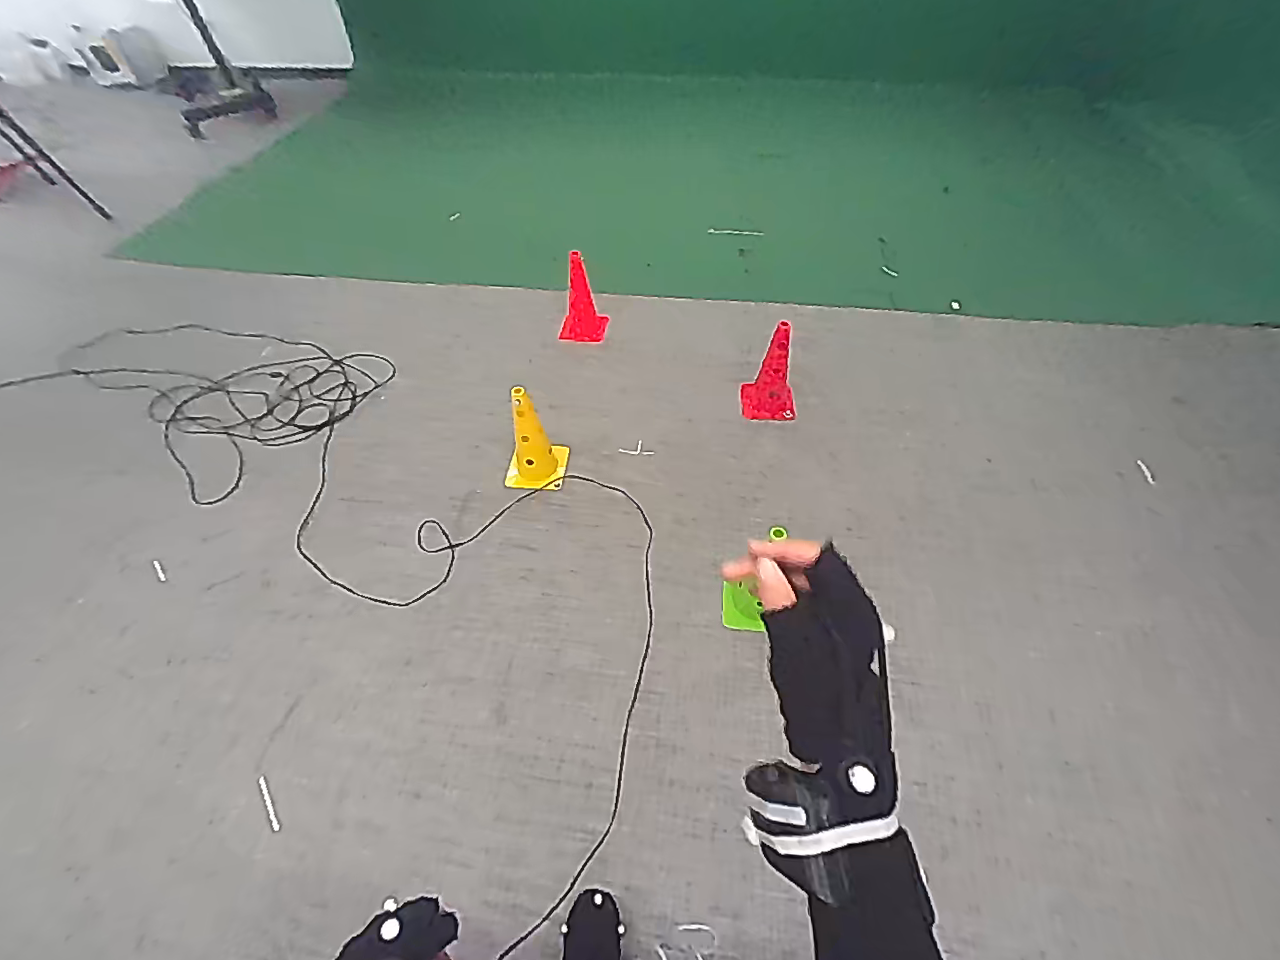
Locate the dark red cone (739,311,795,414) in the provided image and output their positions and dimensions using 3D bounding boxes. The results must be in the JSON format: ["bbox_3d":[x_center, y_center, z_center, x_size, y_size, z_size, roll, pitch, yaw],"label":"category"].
[{"bbox_3d":[0.482,-0.429,1.954,0.202,0.394,0.201,1,50,3],"label":"dark red cone"}]

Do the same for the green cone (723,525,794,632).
[{"bbox_3d":[0.337,0.237,1.450,0.202,0.368,0.200,3,51,6],"label":"green cone"}]

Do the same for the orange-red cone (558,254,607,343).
[{"bbox_3d":[-0.263,-0.783,2.295,0.198,0.360,0.199,5,52,7],"label":"orange-red cone"}]
